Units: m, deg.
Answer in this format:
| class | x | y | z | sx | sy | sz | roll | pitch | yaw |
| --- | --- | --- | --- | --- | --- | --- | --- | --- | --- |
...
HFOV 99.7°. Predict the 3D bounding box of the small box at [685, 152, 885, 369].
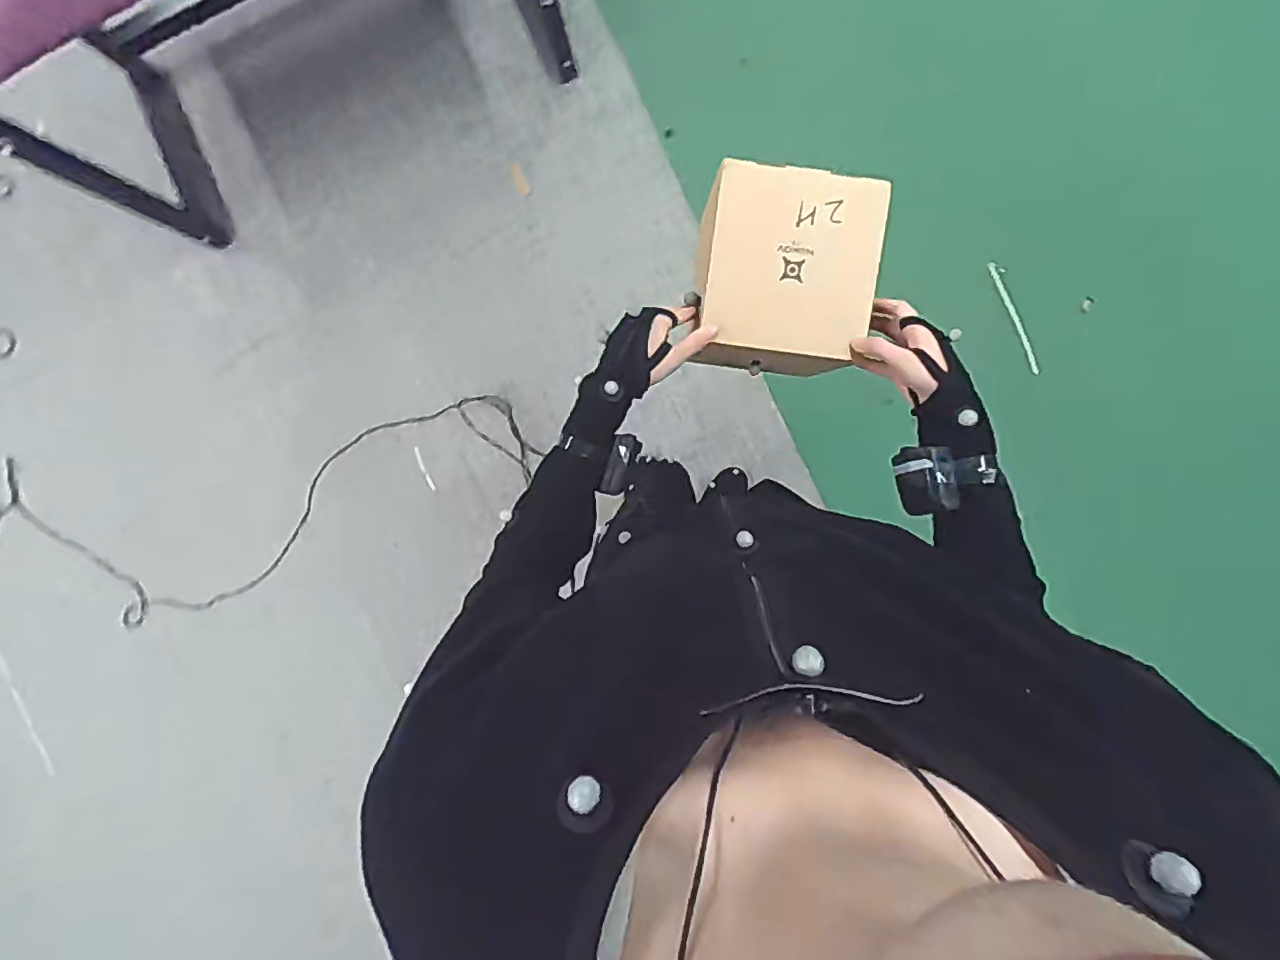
| class | x | y | z | sx | sy | sz | roll | pitch | yaw |
| --- | --- | --- | --- | --- | --- | --- | --- | --- | --- |
| small box | 0.145 | -0.226 | 0.604 | 0.168 | 0.176 | 0.179 | 7 | 95 | -1 |
